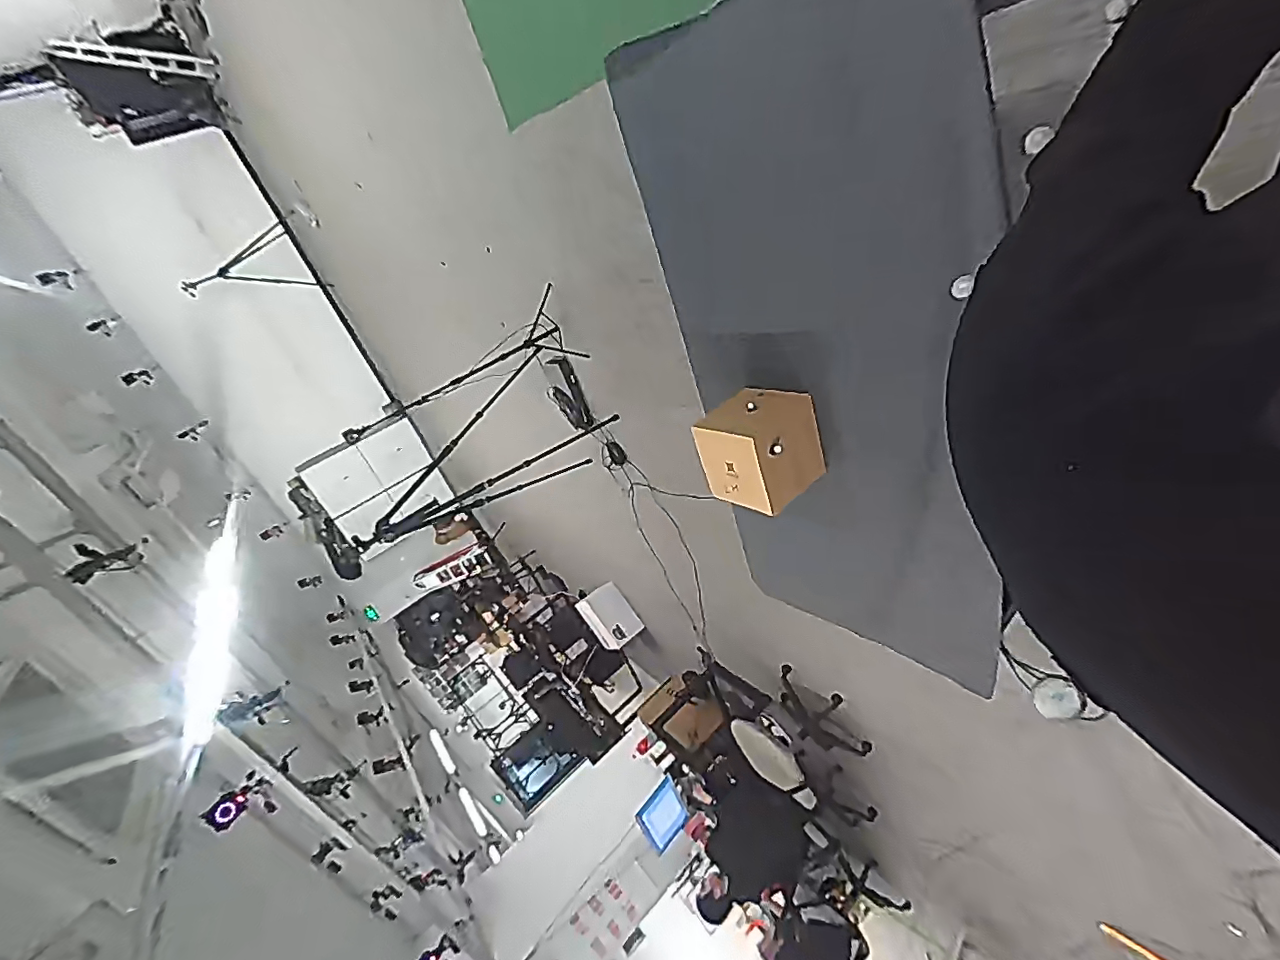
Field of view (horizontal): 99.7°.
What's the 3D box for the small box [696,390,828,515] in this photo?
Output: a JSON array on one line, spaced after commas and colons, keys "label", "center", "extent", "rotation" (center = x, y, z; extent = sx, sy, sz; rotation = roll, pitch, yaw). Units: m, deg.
[{"label": "small box", "center": [0.244, -0.062, 1.068], "extent": [0.168, 0.176, 0.179], "rotation": [19, 139, 52]}]
